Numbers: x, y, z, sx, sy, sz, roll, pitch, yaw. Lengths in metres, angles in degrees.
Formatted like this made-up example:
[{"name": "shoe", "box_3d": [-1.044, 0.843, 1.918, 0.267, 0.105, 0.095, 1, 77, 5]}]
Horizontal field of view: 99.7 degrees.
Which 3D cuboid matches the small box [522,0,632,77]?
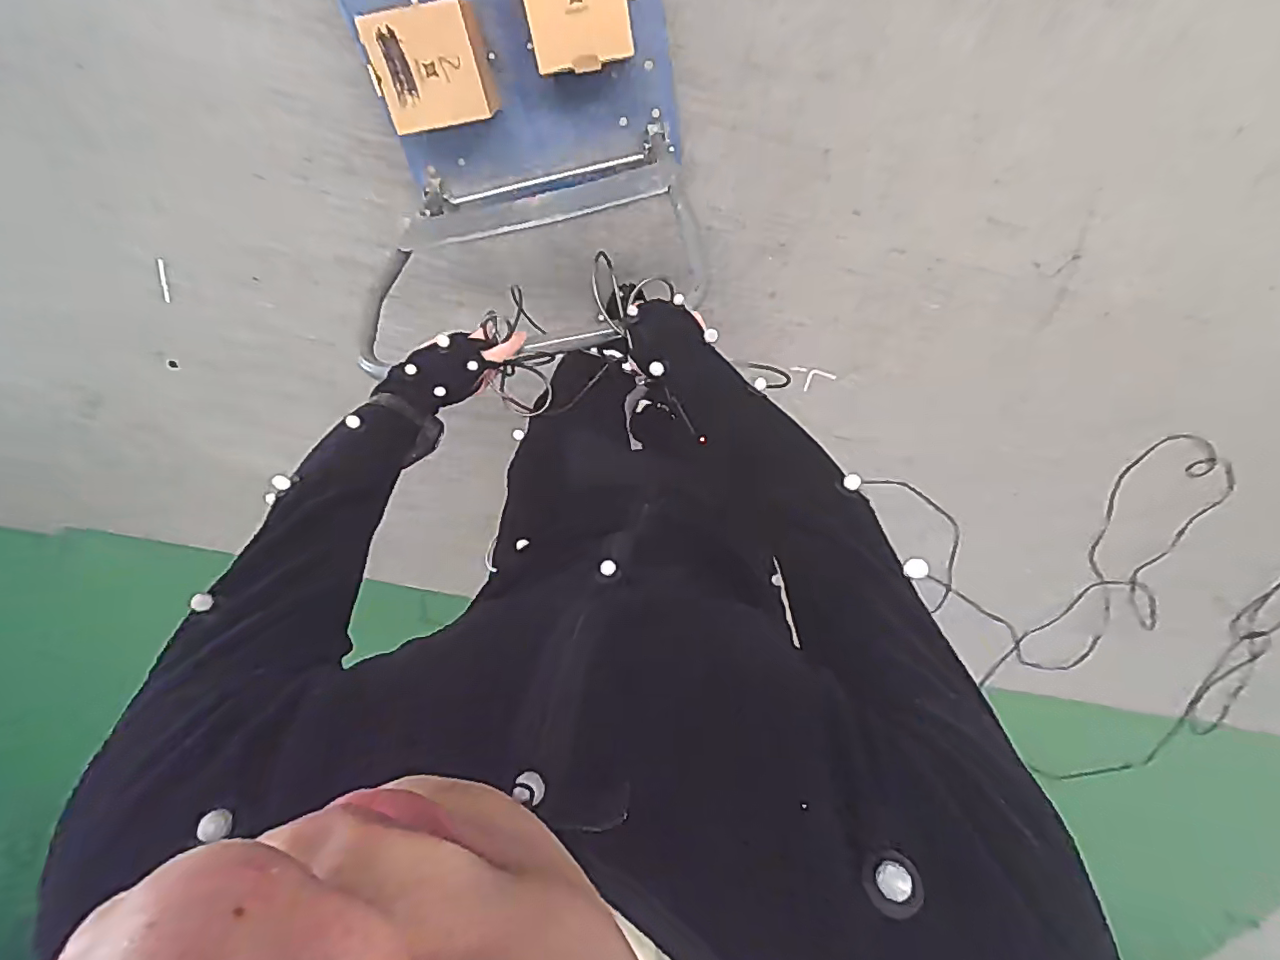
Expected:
[{"name": "small box", "box_3d": [-0.110, -0.817, 0.923, 0.168, 0.176, 0.179, -8, 132, 5]}]
